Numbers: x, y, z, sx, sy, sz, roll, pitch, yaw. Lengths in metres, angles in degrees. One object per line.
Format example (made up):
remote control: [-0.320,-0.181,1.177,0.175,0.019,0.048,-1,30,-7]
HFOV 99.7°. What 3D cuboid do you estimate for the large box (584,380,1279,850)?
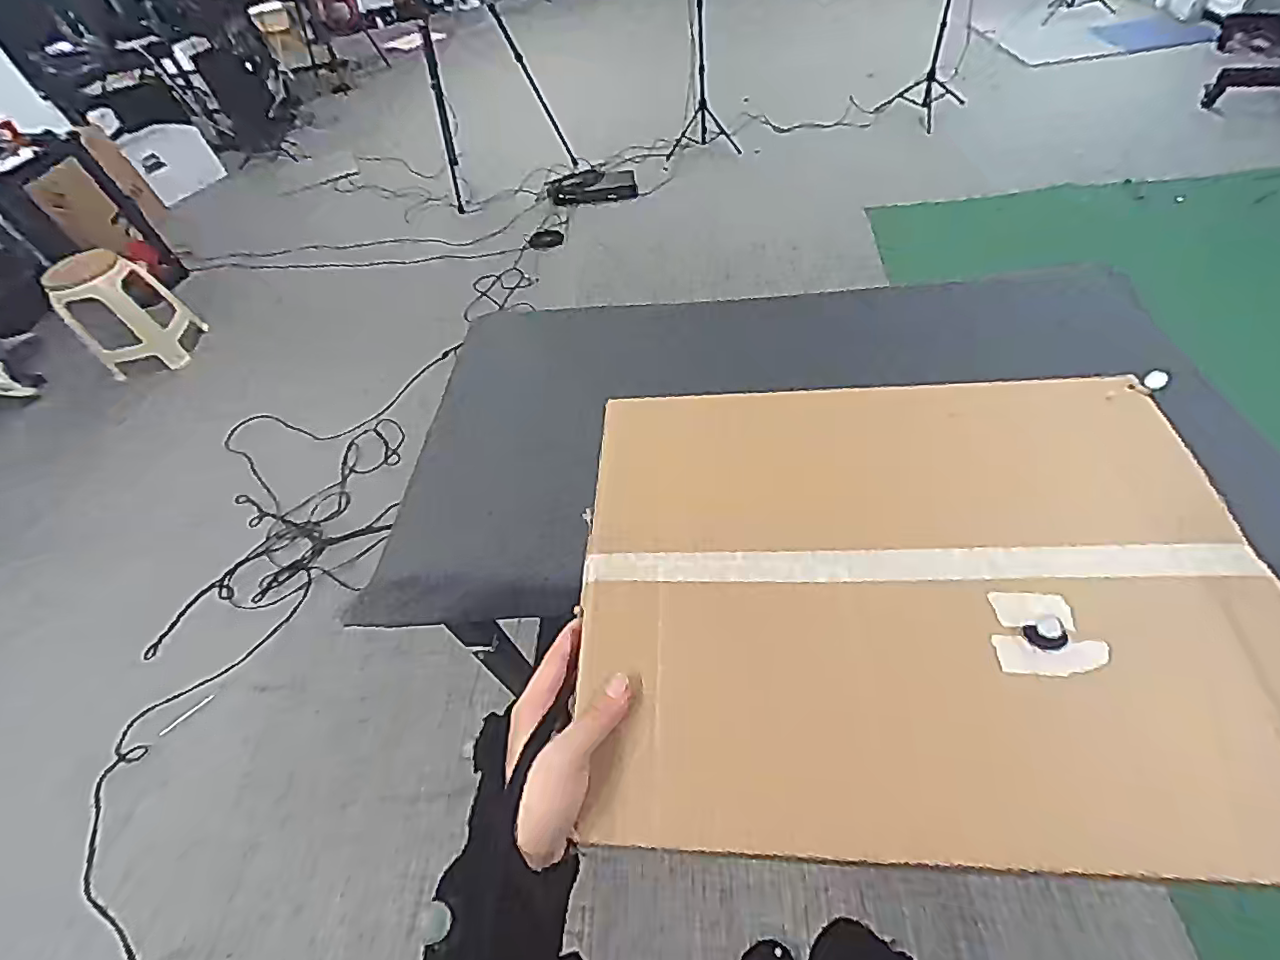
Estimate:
large box: [0.182,0.136,0.483,0.408,0.320,0.320,-1,56,6]
